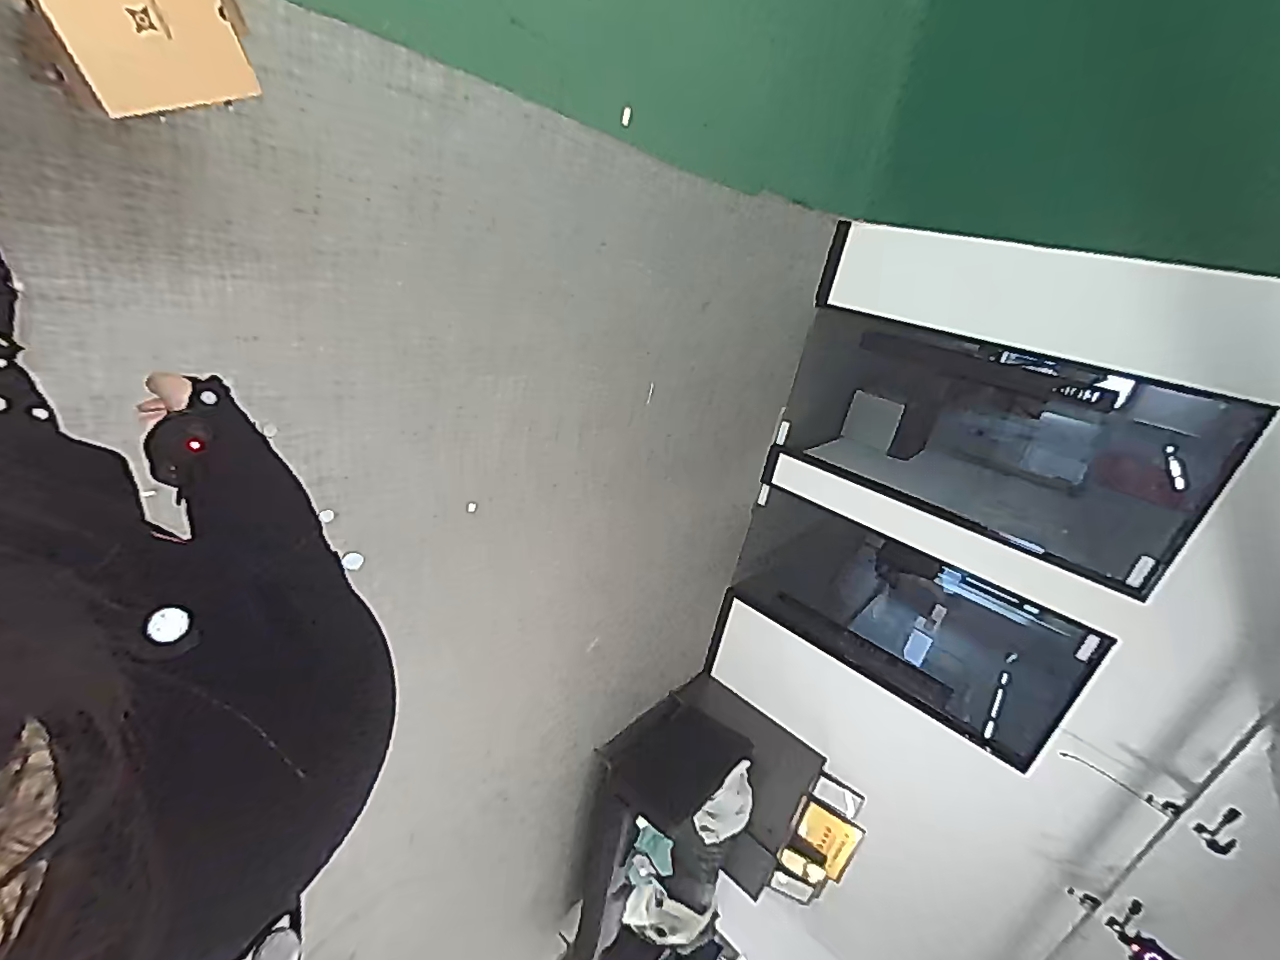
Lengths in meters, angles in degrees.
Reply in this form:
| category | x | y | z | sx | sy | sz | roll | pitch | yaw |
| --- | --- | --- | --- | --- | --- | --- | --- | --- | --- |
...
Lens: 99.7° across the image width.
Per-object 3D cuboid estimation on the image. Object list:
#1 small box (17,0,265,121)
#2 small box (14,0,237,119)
| category | x | y | z | sx | sy | sz | roll | pitch | yaw |
| --- | --- | --- | --- | --- | --- | --- | --- | --- | --- |
| small box | -0.609 | -0.545 | 0.651 | 0.179 | 0.176 | 0.168 | -39 | 142 | -31 |
| small box | -0.719 | -0.611 | 0.753 | 0.179 | 0.176 | 0.168 | -36 | 141 | -35 |
